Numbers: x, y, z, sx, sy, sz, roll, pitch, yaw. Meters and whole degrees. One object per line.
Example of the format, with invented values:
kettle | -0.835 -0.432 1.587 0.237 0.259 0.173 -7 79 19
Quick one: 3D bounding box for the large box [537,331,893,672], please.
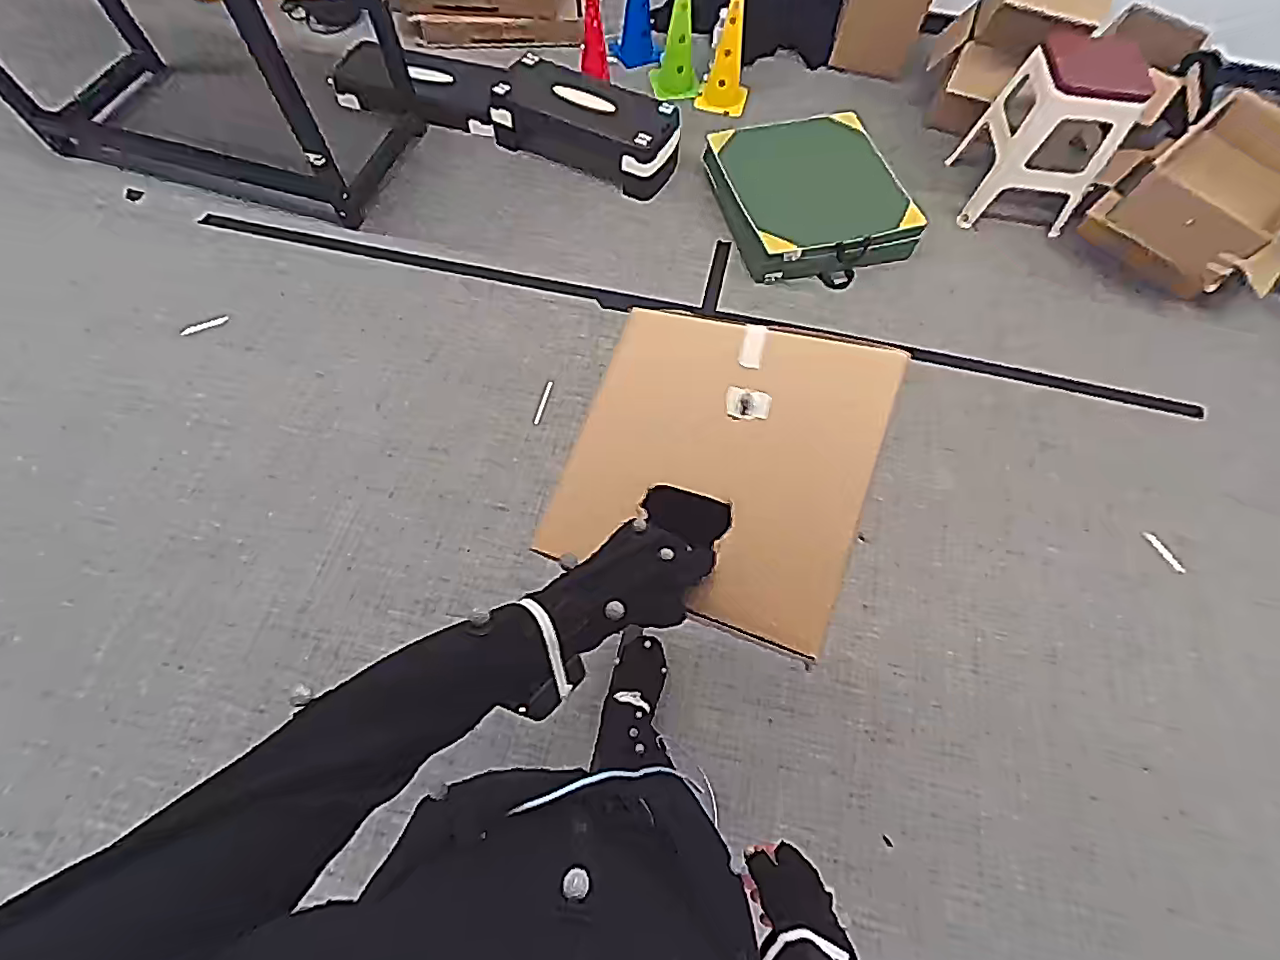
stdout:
large box | 0.134 0.050 0.741 0.320 0.408 0.320 18 78 25
